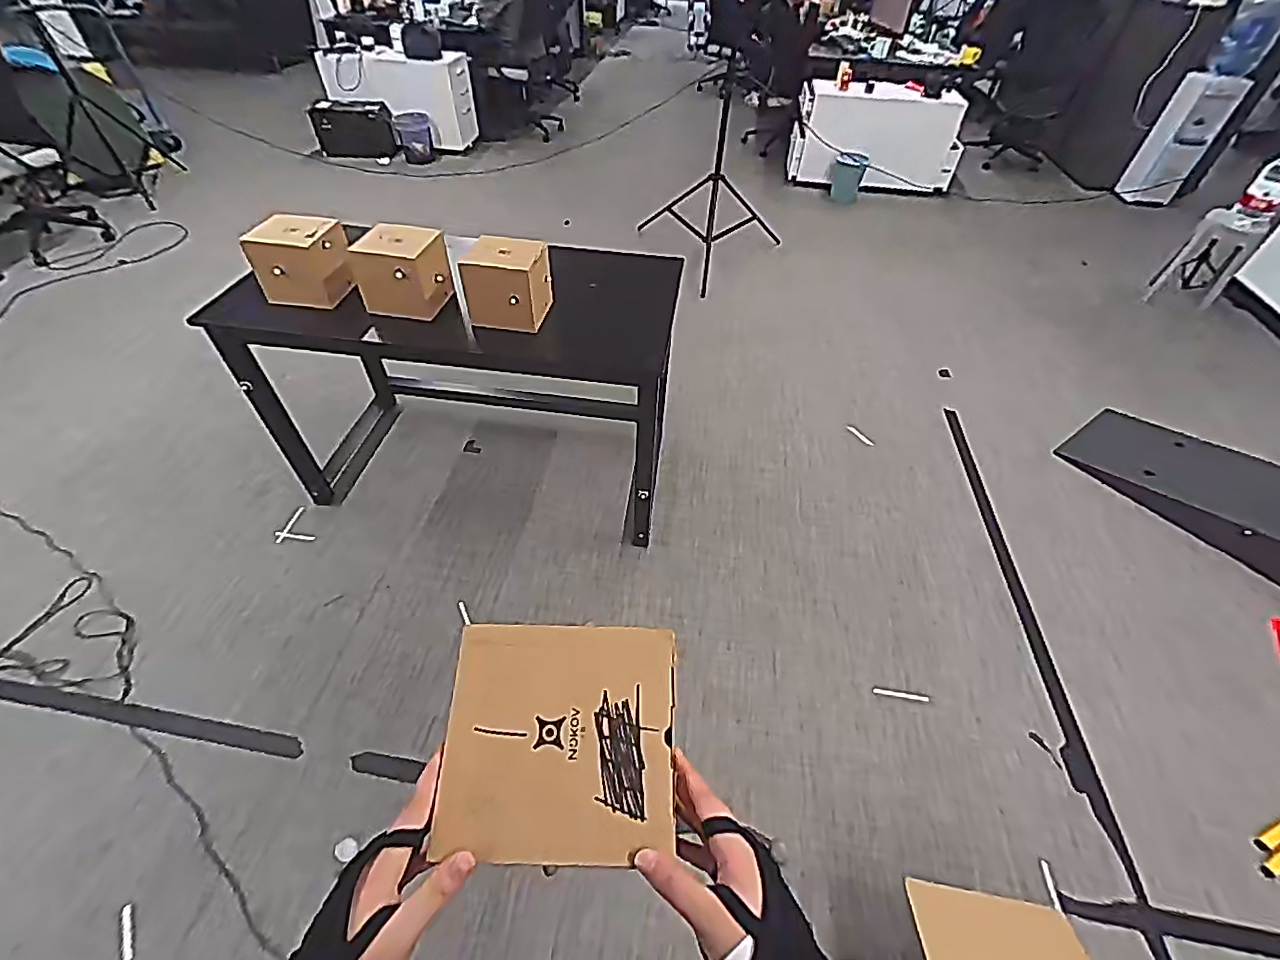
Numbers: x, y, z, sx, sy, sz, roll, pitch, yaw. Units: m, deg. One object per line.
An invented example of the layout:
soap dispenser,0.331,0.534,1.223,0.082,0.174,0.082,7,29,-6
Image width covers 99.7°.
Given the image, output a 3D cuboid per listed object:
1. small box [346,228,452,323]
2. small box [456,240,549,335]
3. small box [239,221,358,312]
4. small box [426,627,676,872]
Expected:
small box,-0.608,-0.523,1.394,0.179,0.176,0.168,8,47,5
small box,-0.338,-0.486,1.374,0.179,0.176,0.168,7,46,5
small box,-0.879,-0.556,1.414,0.179,0.176,0.168,5,47,3
small box,-0.062,0.234,0.483,0.179,0.176,0.168,1,62,0
